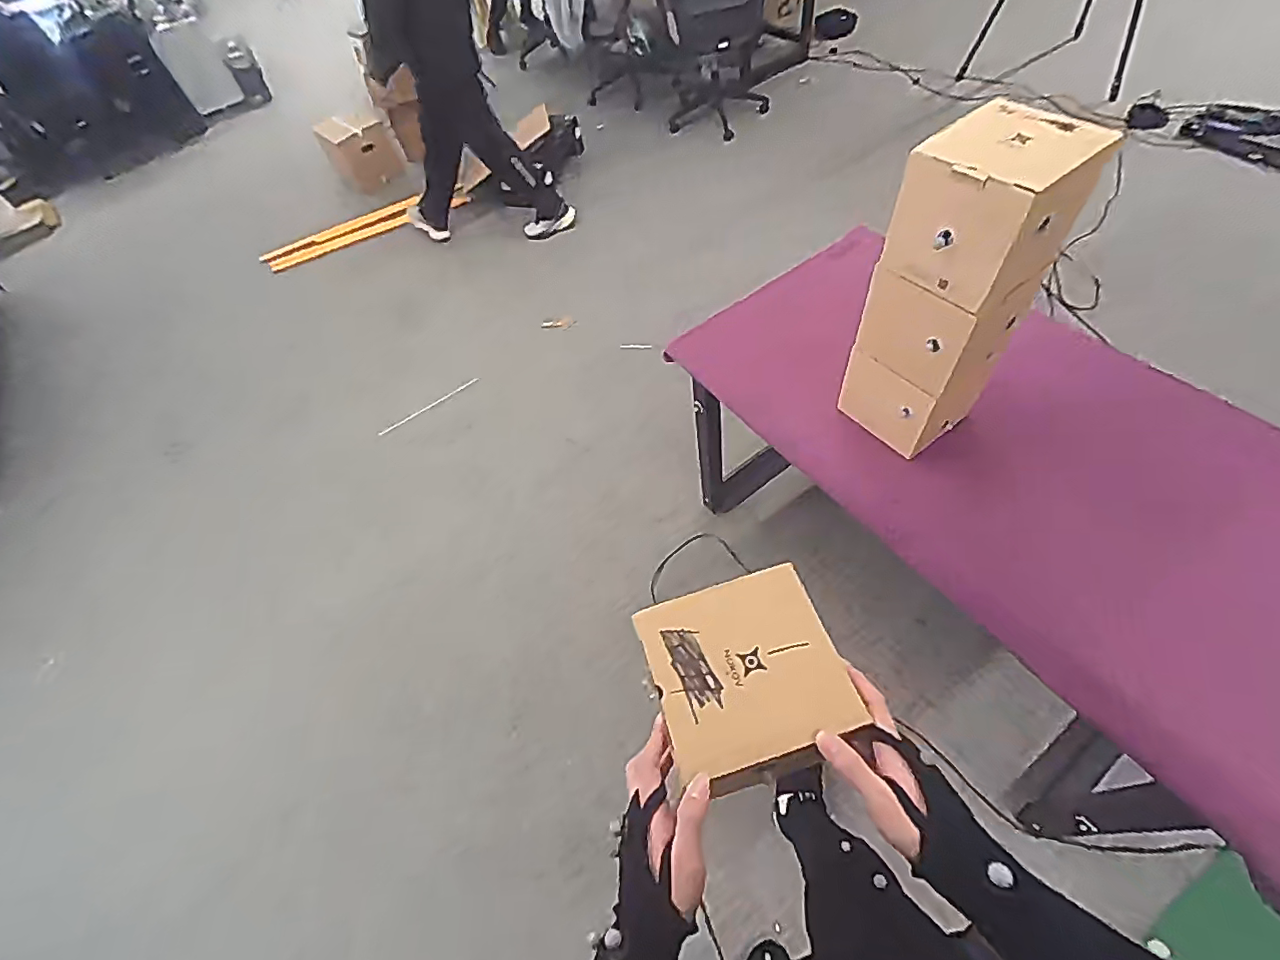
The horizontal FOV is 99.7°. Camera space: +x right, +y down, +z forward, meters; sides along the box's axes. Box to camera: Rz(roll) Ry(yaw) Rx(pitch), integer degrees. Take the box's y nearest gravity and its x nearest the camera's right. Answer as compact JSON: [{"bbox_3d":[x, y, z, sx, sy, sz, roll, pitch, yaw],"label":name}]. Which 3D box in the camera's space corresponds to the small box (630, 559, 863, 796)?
[{"bbox_3d":[0.103,0.214,0.573,0.179,0.176,0.168,-17,54,-4],"label":"small box"}]

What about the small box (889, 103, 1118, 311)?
[{"bbox_3d":[0.463,-0.359,0.723,0.179,0.176,0.168,-35,58,-14],"label":"small box"}]

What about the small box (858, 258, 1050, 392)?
[{"bbox_3d":[0.479,-0.265,0.855,0.168,0.176,0.179,-34,57,-14],"label":"small box"}]
